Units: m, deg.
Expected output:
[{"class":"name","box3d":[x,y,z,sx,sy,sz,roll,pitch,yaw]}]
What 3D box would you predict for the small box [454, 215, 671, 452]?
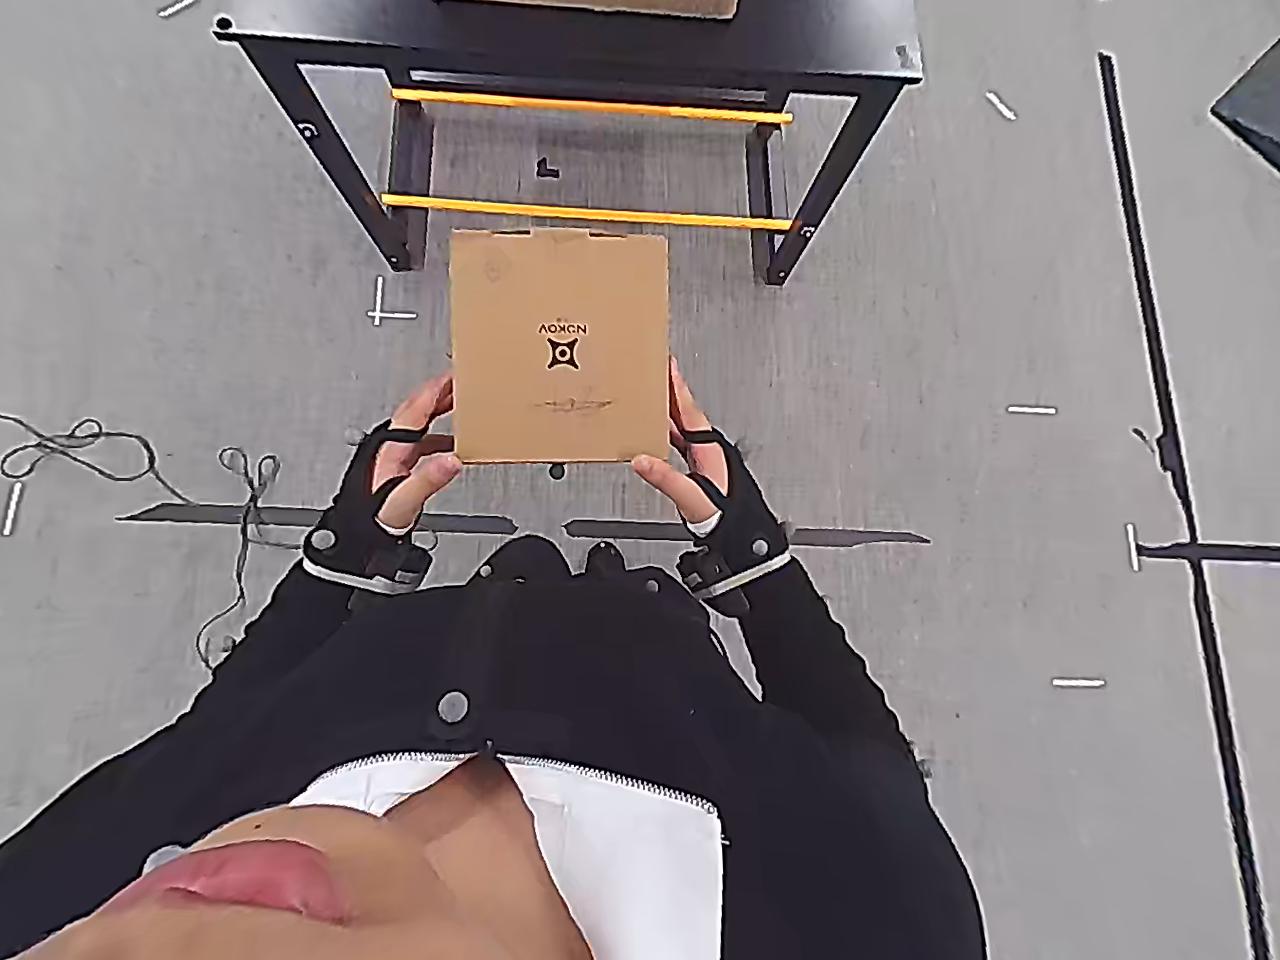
[{"class":"small box","box3d":[-0.066,-0.116,0.493,0.168,0.176,0.179,-1,93,-5]}]
